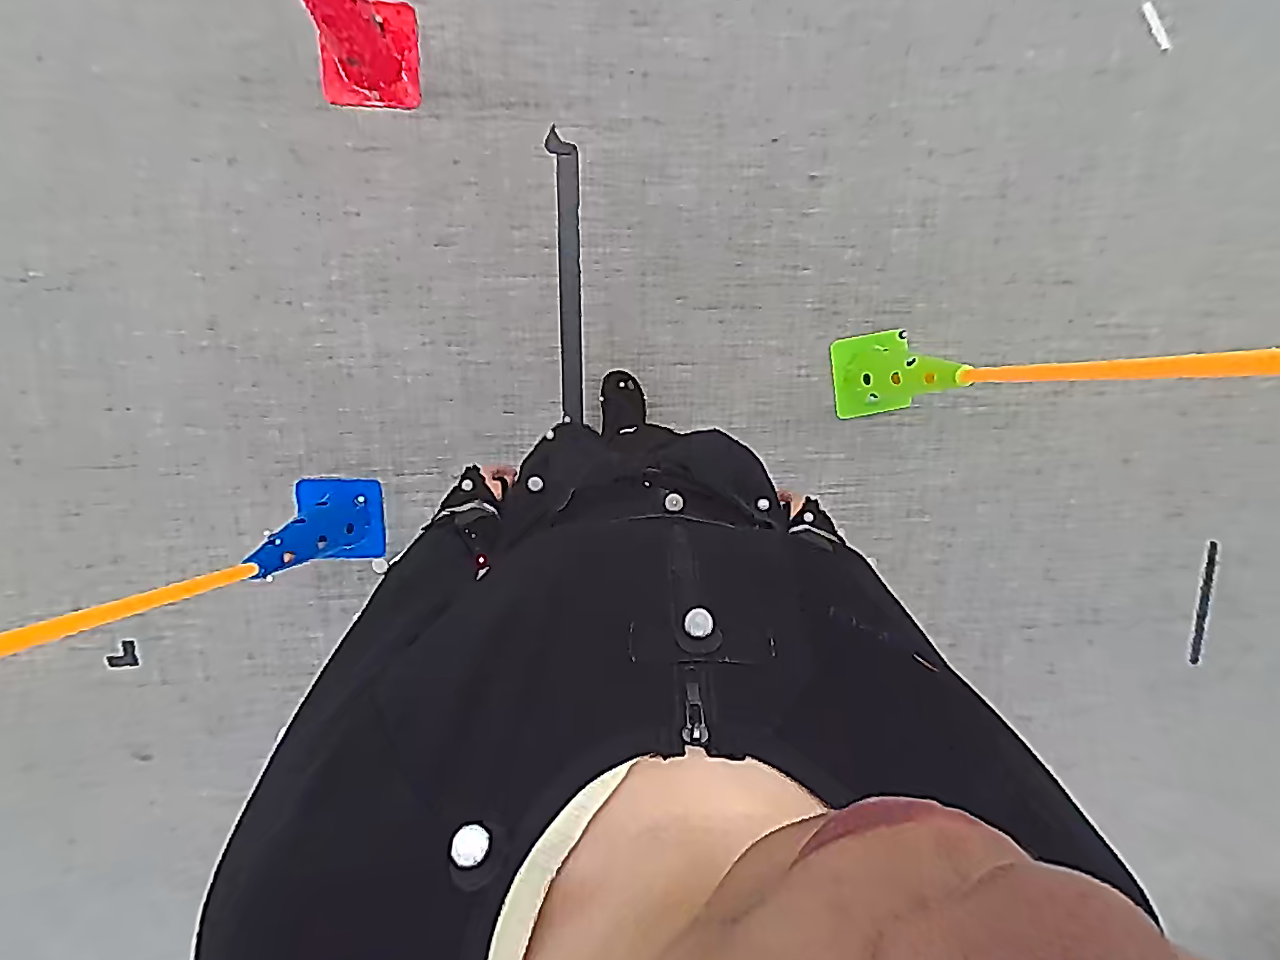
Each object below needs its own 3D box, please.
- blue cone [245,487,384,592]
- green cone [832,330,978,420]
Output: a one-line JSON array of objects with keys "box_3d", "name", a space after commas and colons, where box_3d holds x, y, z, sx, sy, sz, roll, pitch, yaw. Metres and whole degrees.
[{"box_3d": [-0.715, 0.142, 1.158, 0.193, 0.380, 0.192, 1, 101, -5], "name": "blue cone"}, {"box_3d": [0.599, -0.228, 1.193, 0.200, 0.368, 0.202, -12, 103, -3], "name": "green cone"}]
